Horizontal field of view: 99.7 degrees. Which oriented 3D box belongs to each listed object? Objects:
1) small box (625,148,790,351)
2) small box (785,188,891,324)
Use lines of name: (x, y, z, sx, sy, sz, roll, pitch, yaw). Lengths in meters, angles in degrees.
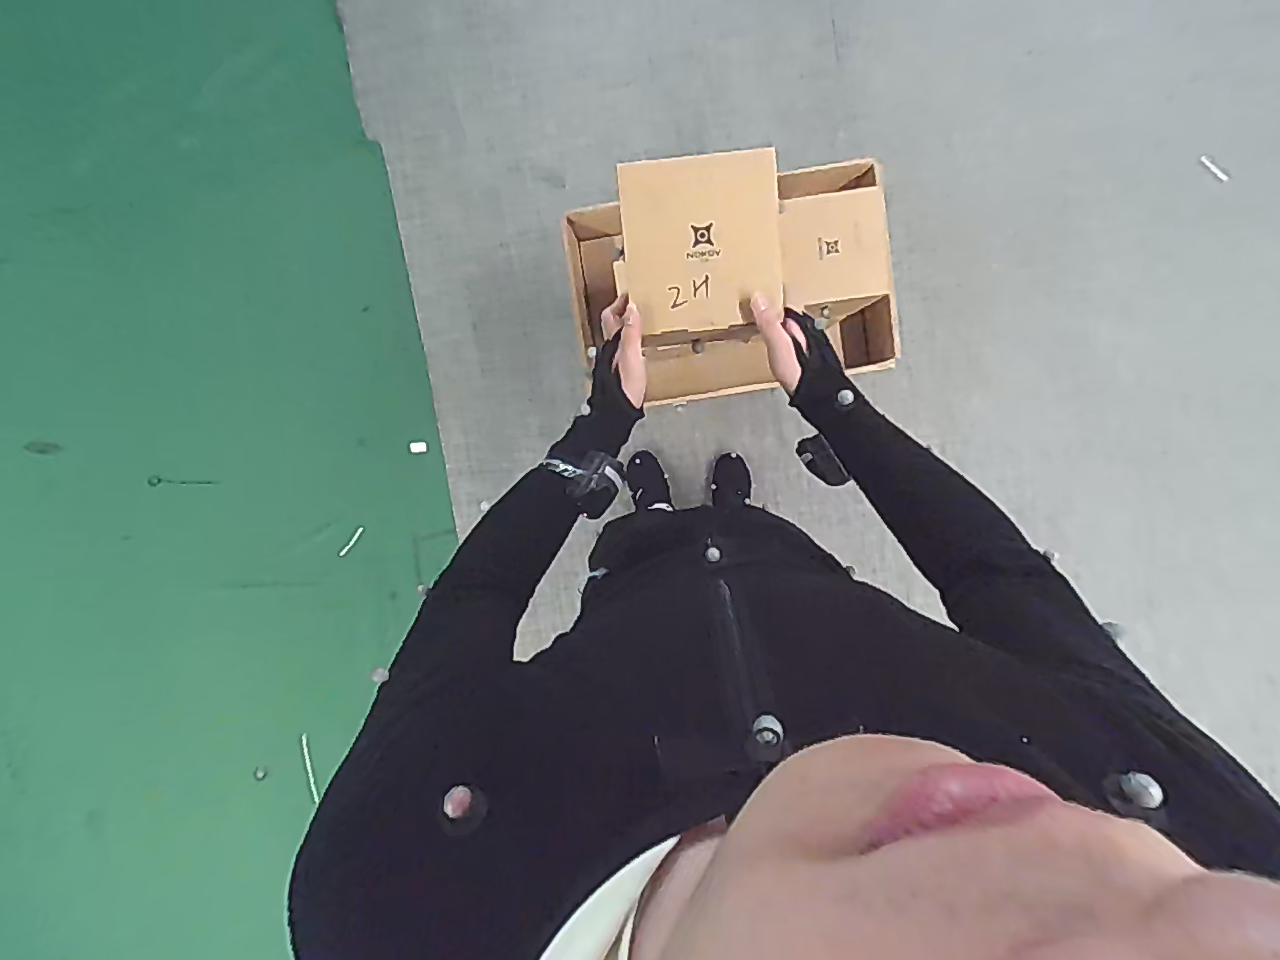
small box: (0.070, -0.254, 0.636, 0.168, 0.176, 0.179, -5, 99, 2)
small box: (0.302, -0.369, 0.923, 0.179, 0.176, 0.168, -7, 96, 2)
